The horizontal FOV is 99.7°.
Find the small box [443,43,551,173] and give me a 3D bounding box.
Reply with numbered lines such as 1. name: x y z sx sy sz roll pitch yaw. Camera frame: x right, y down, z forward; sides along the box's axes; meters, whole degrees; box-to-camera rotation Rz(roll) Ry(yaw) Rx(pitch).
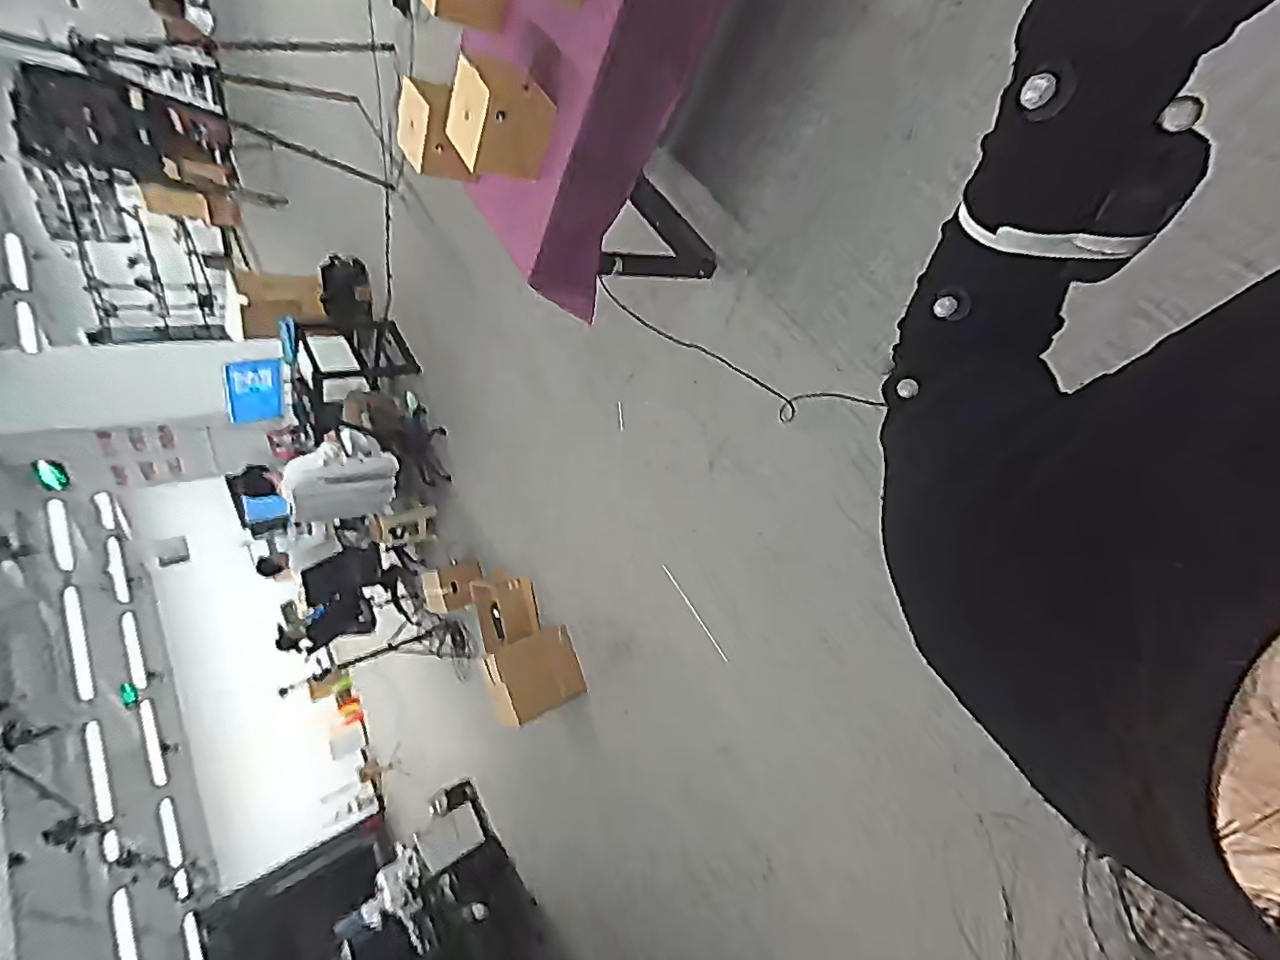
1. small box: -0.328 -0.842 1.243 0.168 0.176 0.179 58 137 19
